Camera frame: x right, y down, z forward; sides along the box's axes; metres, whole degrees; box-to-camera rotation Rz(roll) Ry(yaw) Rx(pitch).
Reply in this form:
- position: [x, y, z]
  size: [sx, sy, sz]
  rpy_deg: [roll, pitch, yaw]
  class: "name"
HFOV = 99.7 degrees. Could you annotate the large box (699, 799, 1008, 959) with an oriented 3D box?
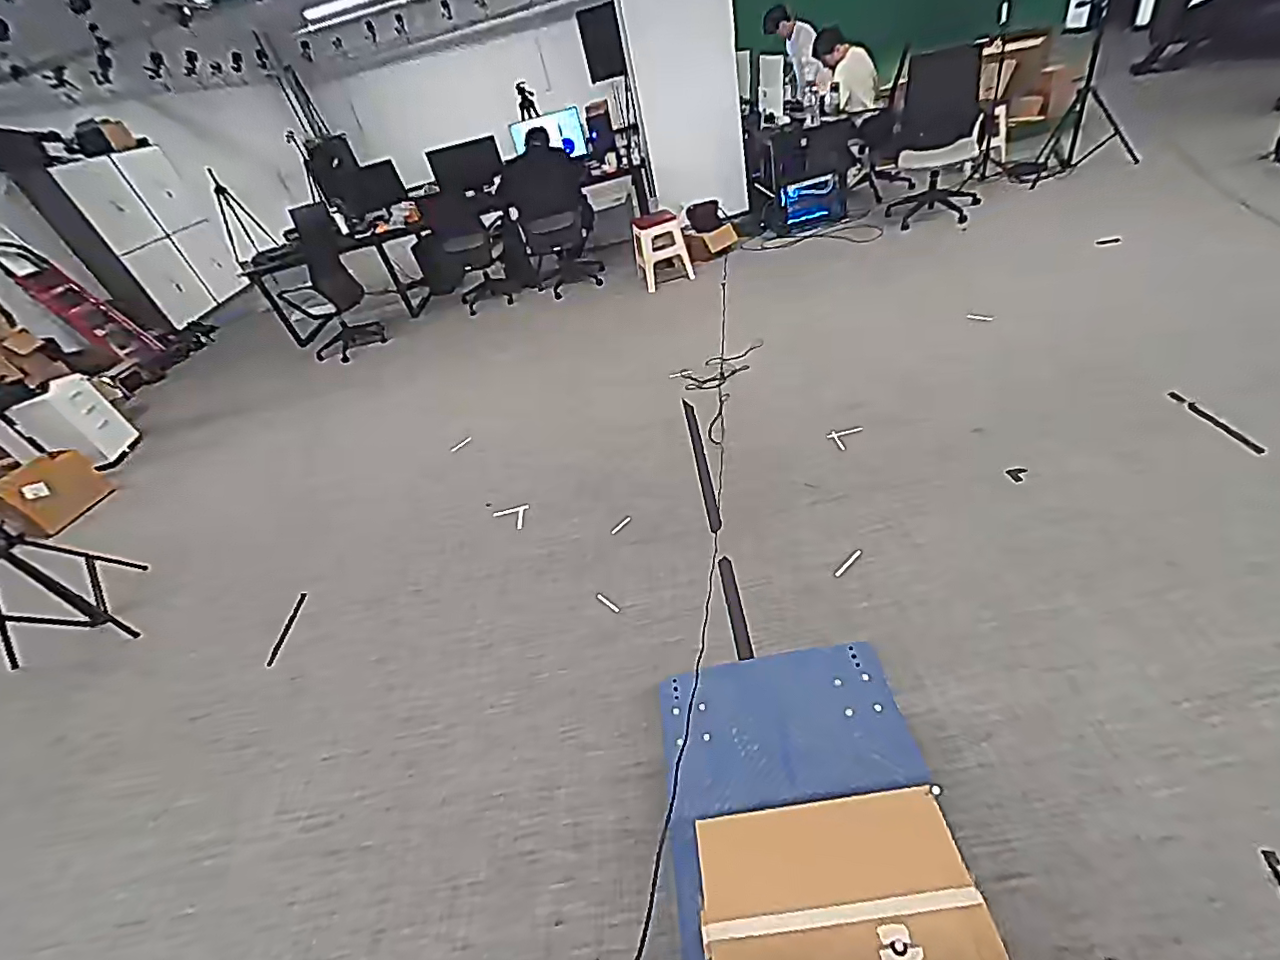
- position: [0.332, 0.774, 0.872]
  size: [0.408, 0.320, 0.320]
  rpy_deg: [-12, 37, 5]
  class: "large box"
